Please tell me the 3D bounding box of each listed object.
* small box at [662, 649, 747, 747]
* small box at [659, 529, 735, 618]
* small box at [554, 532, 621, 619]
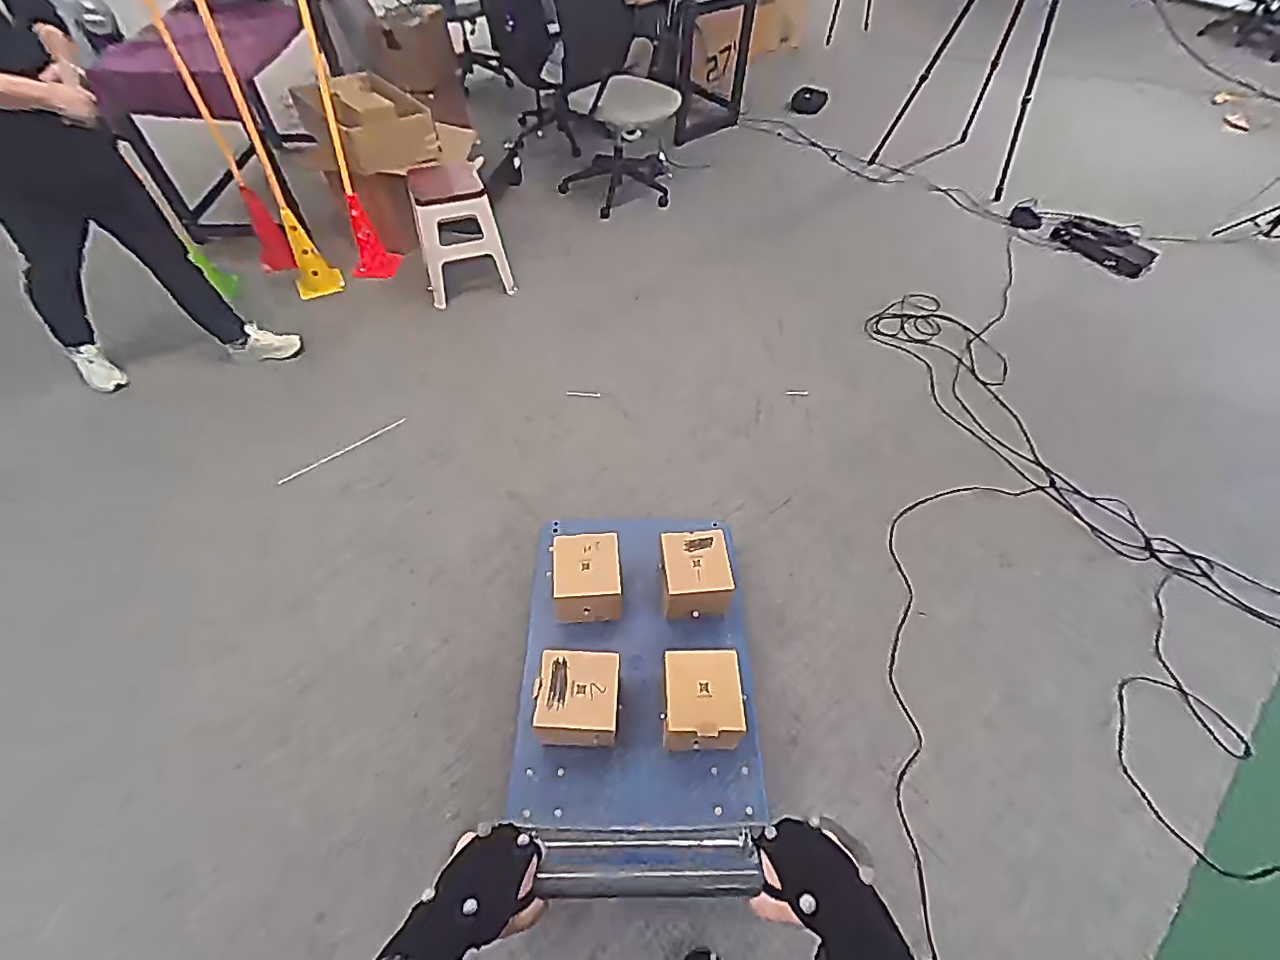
[{"bbox_3d":[0.139,0.505,1.247,0.168,0.176,0.179,0,54,-2],"label":"small box"},{"bbox_3d":[0.144,0.250,1.434,0.168,0.176,0.179,-3,55,-4],"label":"small box"},{"bbox_3d":[-0.135,0.255,1.418,0.168,0.176,0.179,-2,54,-5],"label":"small box"}]
